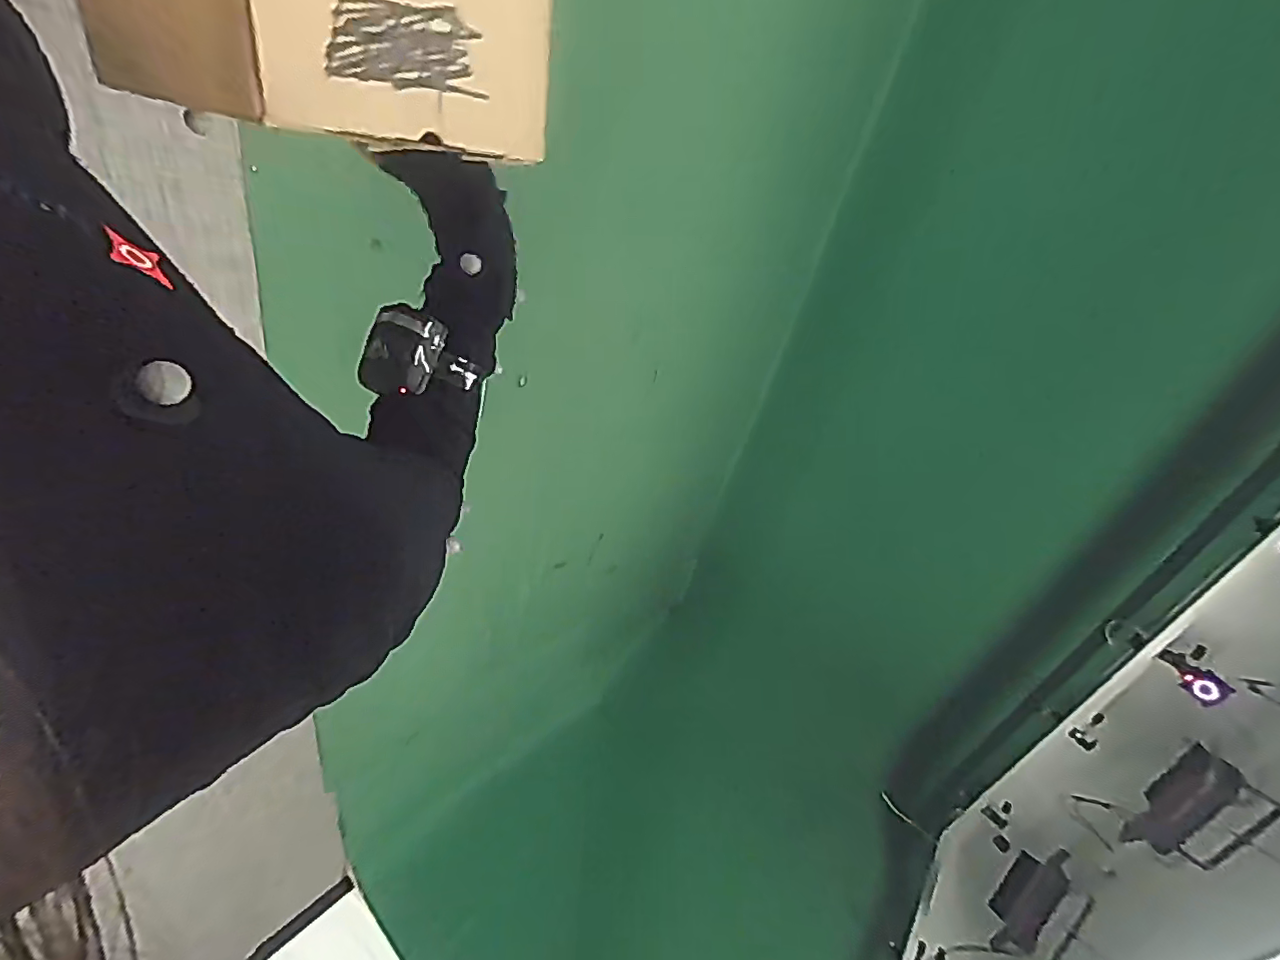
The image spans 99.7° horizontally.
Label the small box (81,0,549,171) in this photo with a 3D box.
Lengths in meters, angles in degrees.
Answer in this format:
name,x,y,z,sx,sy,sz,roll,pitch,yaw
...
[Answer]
name,x,y,z,sx,sy,sz,roll,pitch,yaw
small box,-0.164,-0.278,0.277,0.168,0.176,0.179,-32,140,-51
